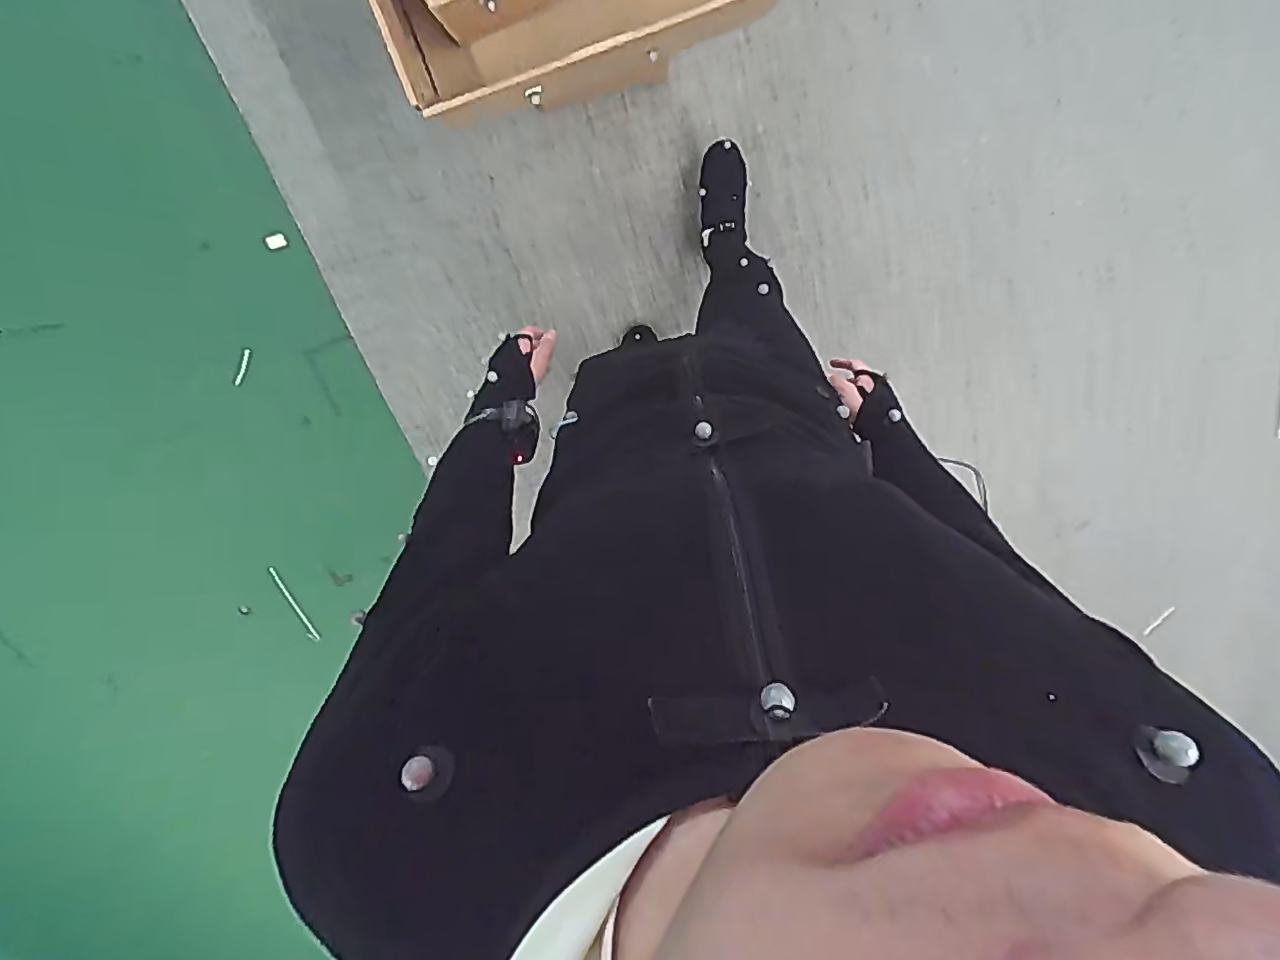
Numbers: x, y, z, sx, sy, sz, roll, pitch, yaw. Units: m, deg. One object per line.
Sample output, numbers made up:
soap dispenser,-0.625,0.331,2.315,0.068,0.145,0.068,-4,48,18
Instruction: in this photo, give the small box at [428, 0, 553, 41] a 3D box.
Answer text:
small box,-0.240,-0.793,0.795,0.179,0.176,0.168,-17,113,5
